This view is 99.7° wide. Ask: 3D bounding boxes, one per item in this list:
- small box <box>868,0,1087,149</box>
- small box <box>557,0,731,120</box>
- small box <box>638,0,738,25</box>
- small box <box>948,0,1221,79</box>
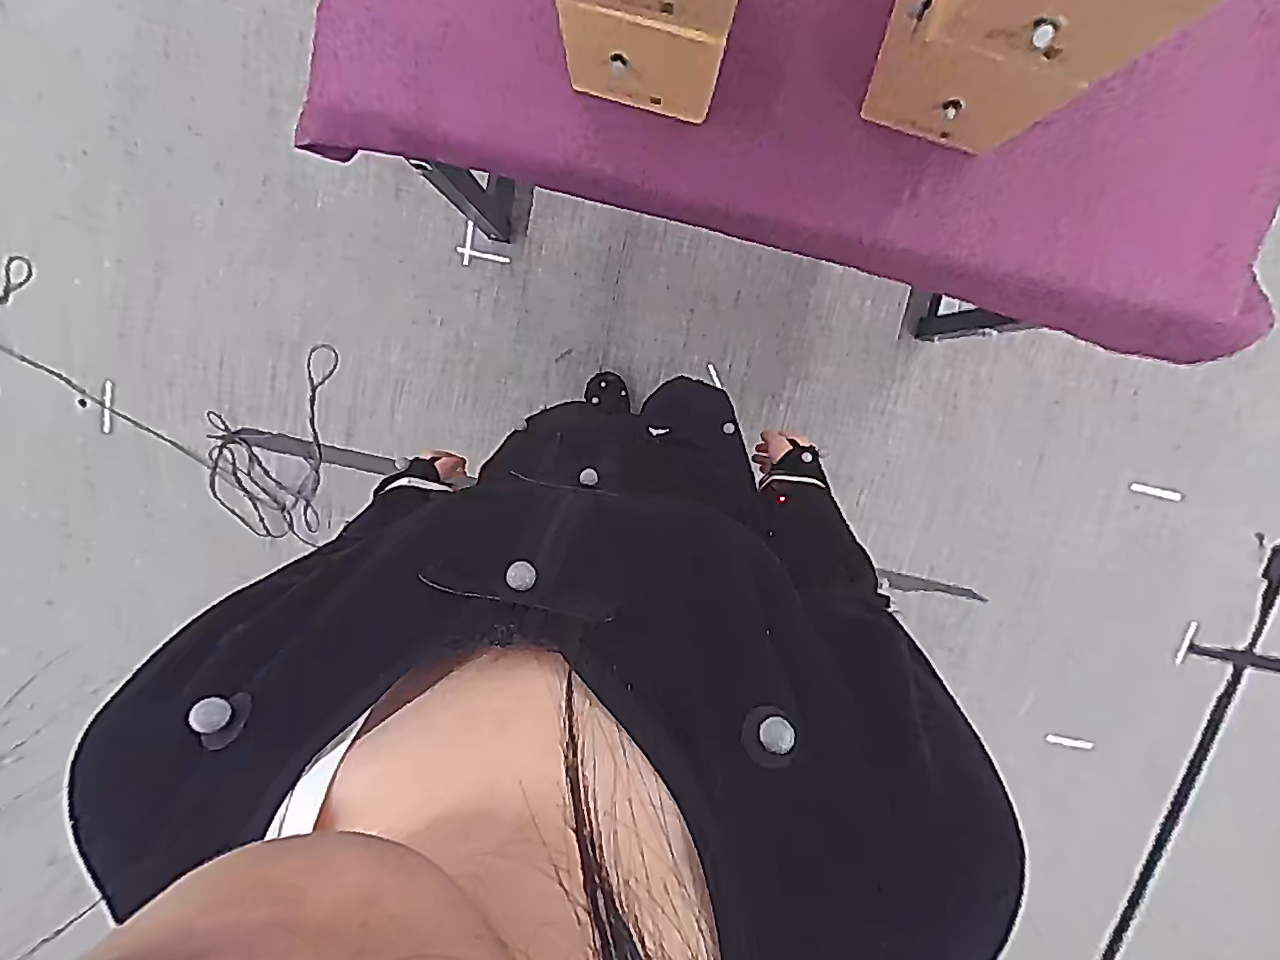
[{"bbox_3d":[0.374,-0.496,0.581,0.168,0.176,0.179,15,100,-4],"label":"small box"},{"bbox_3d":[0.019,-0.524,0.570,0.168,0.176,0.179,13,99,-4],"label":"small box"},{"bbox_3d":[0.023,-0.501,0.408,0.168,0.176,0.179,11,100,-3],"label":"small box"},{"bbox_3d":[0.380,-0.468,0.420,0.168,0.176,0.179,15,101,-4],"label":"small box"}]
